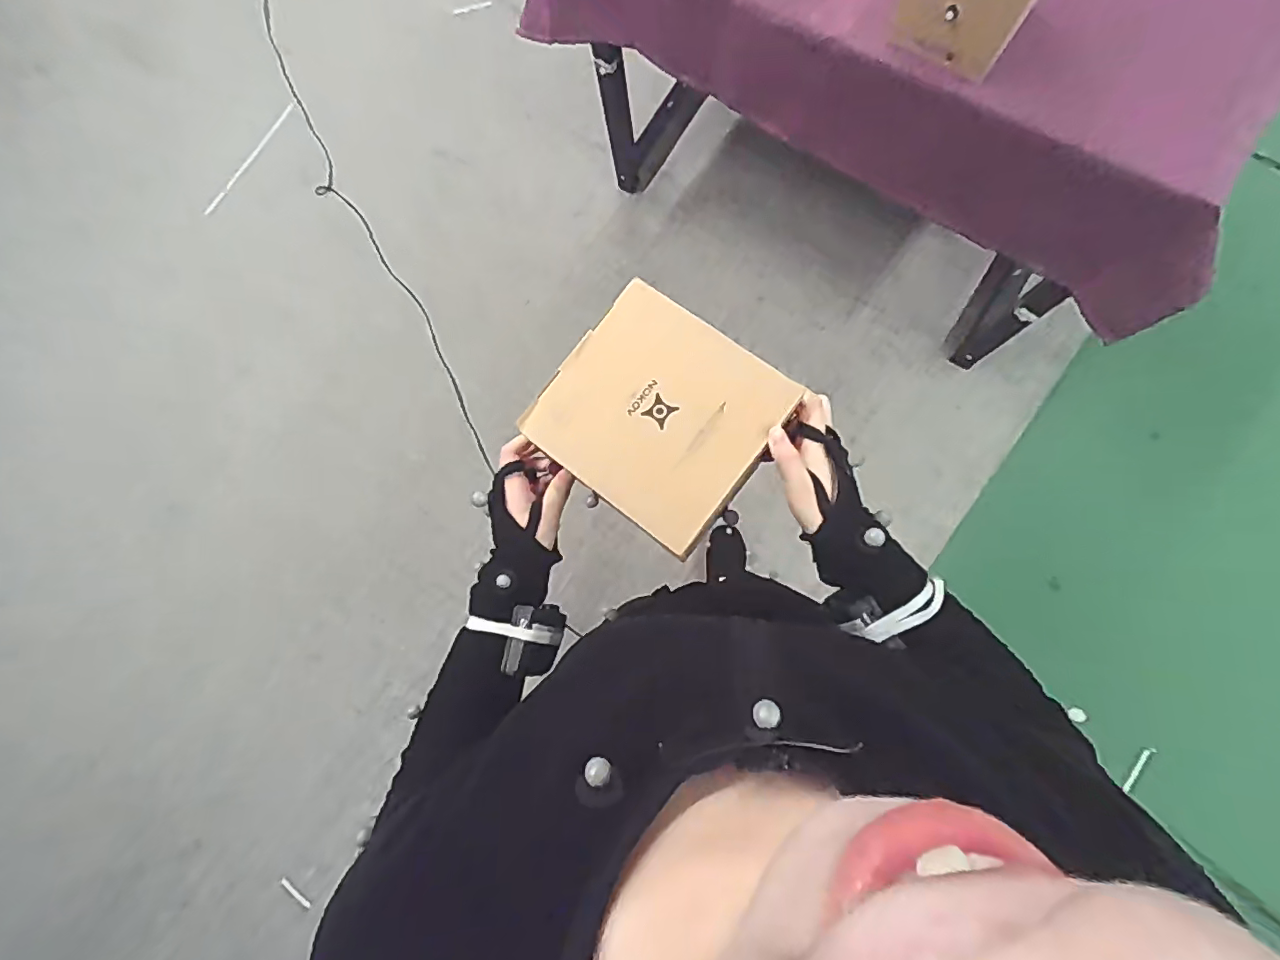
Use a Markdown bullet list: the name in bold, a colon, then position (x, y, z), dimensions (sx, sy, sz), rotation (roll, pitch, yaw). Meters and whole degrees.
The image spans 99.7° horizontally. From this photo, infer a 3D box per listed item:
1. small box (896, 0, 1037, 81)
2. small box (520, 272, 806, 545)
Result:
- **small box**: position (0.509, -0.748, 0.797), dimensions (0.168, 0.176, 0.179), rotation (35, 86, 8)
- **small box**: position (0.022, -0.049, 0.513), dimensions (0.179, 0.176, 0.168), rotation (38, 86, 10)
